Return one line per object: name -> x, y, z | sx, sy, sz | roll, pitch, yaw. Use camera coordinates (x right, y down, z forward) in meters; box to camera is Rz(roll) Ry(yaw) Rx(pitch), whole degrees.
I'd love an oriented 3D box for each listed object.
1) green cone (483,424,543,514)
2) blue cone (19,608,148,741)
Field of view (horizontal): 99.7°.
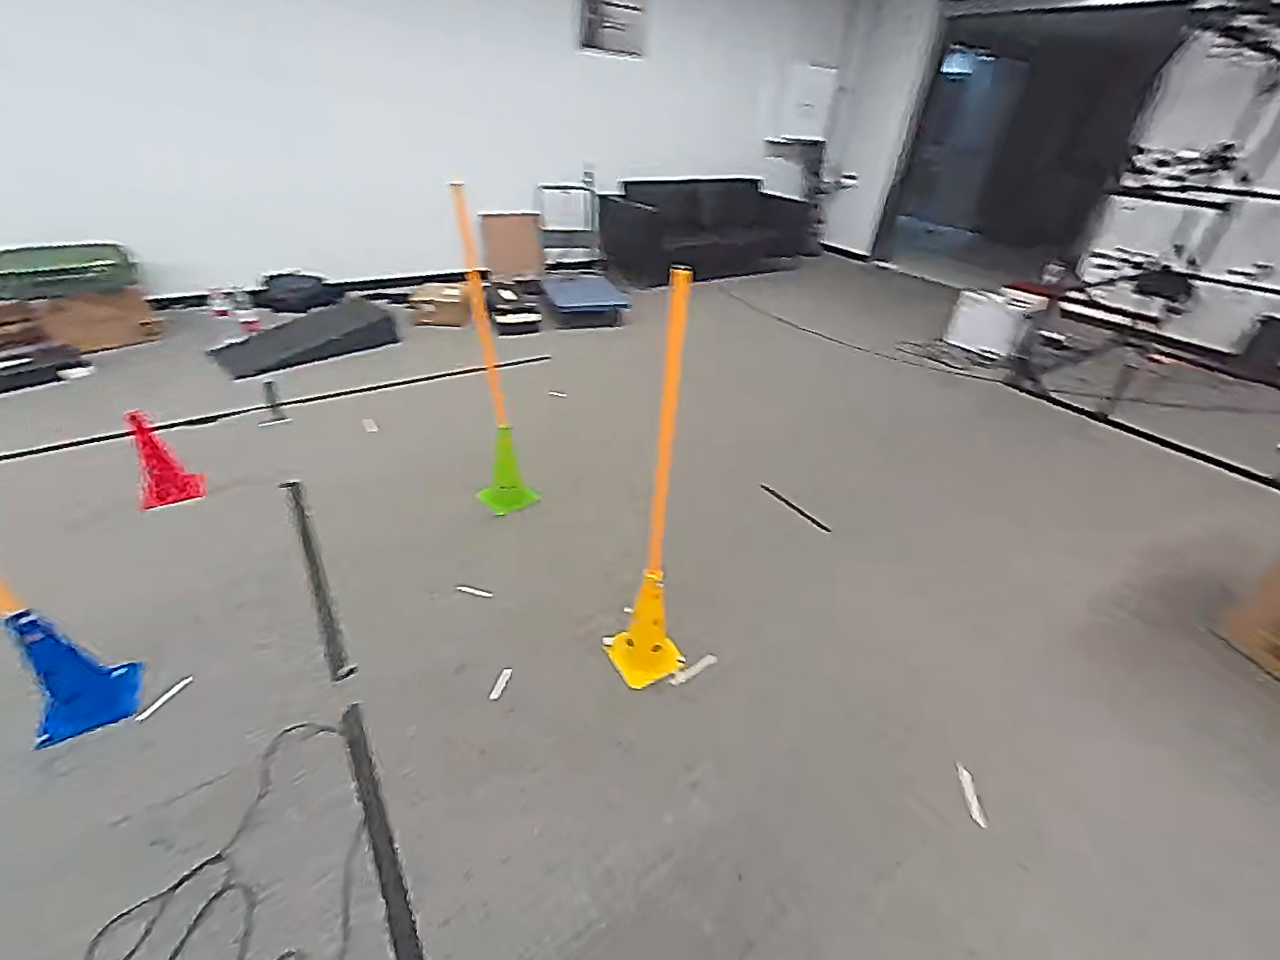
green cone -> -0.536, -0.070, 2.241 | 0.200, 0.368, 0.202 | -26, 47, -37
blue cone -> -1.447, 0.460, 1.374 | 0.193, 0.380, 0.192 | -16, 40, -27
